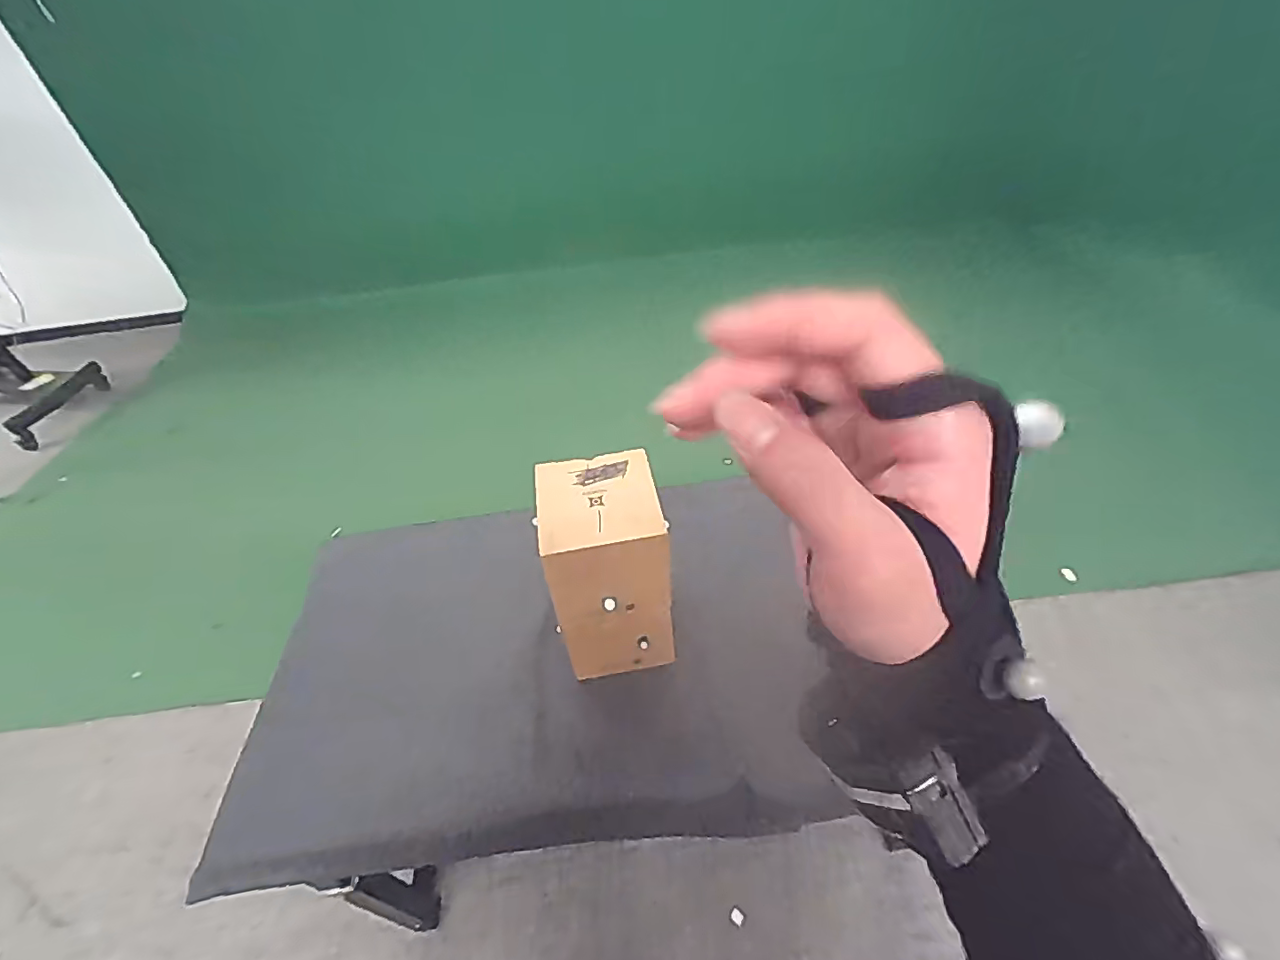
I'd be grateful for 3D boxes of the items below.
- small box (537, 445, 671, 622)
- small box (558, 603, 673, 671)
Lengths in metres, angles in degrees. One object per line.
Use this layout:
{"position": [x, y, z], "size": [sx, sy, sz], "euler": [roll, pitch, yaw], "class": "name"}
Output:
{"position": [-0.052, 0.076, 0.779], "size": [0.168, 0.176, 0.179], "euler": [-10, 44, -4], "class": "small box"}
{"position": [-0.042, 0.196, 0.891], "size": [0.168, 0.176, 0.179], "euler": [-9, 41, -4], "class": "small box"}
